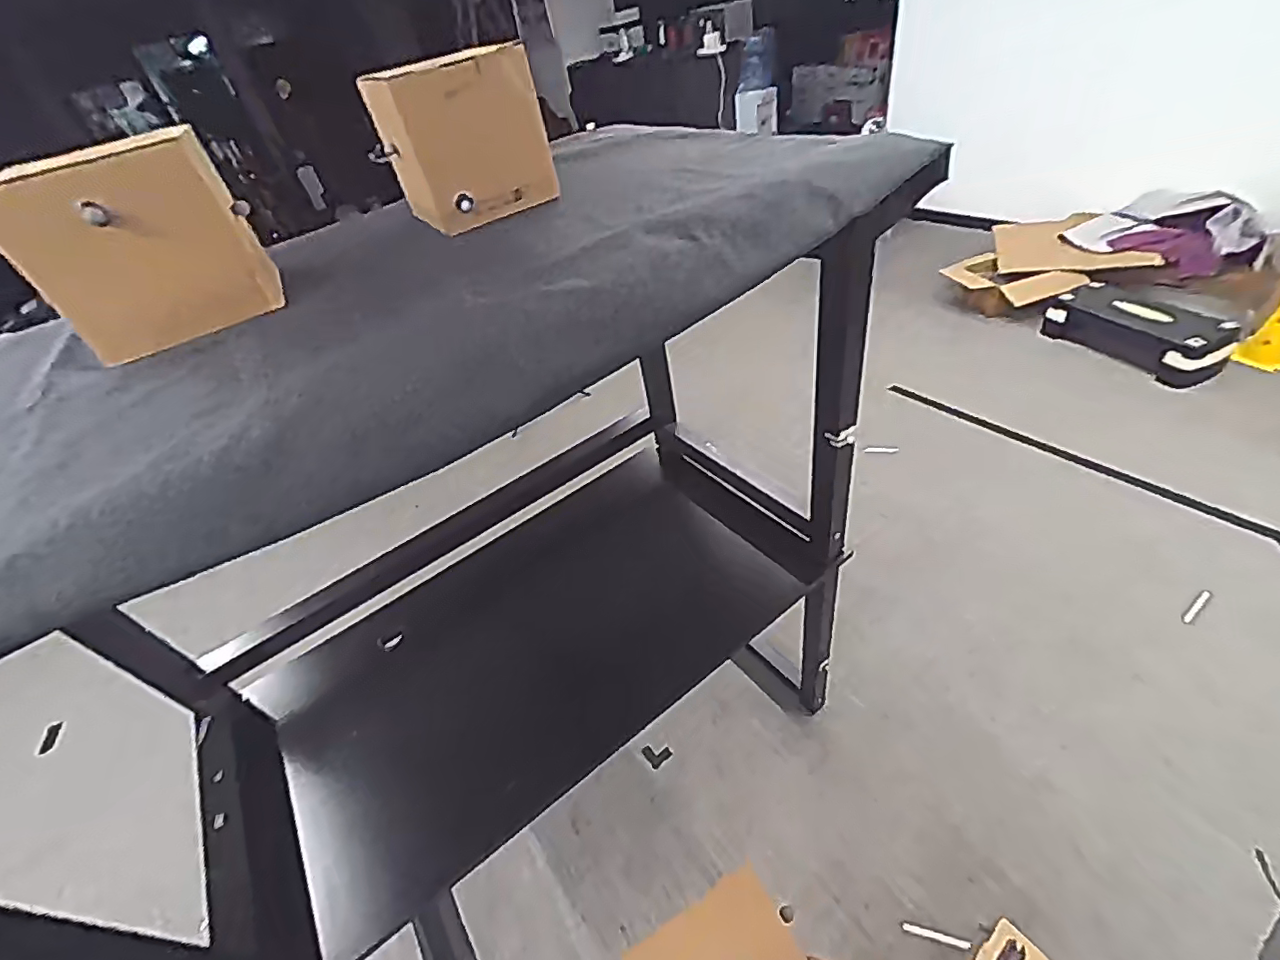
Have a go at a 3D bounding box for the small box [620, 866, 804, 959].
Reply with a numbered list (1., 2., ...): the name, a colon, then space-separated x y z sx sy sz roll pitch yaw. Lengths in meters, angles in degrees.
1. small box: 0.101 0.557 0.552 0.168 0.176 0.179 -25 35 -14

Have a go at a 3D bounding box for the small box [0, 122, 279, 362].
1. small box: -0.513 -0.254 0.573 0.179 0.176 0.168 -29 44 -16

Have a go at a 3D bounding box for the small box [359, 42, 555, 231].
1. small box: -0.233 -0.446 0.708 0.168 0.176 0.179 -30 44 -18
